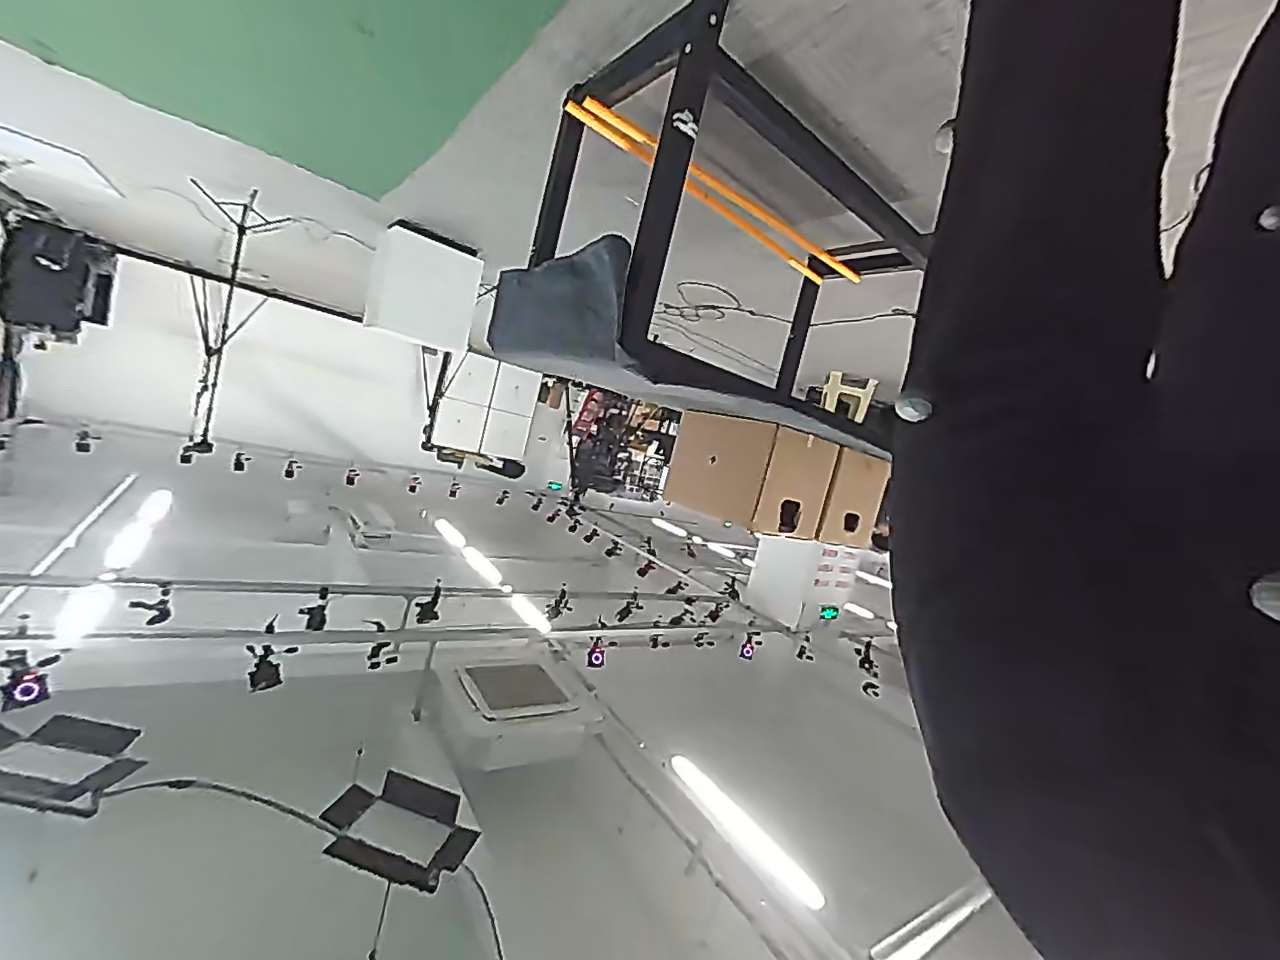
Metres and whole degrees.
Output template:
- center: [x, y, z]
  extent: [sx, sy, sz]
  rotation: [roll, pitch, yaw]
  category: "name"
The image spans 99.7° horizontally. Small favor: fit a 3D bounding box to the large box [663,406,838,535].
- center: [0.338, -0.039, 1.708]
  extent: [0.320, 0.320, 0.408]
  rotation: [10, -175, -37]
  category: "large box"
